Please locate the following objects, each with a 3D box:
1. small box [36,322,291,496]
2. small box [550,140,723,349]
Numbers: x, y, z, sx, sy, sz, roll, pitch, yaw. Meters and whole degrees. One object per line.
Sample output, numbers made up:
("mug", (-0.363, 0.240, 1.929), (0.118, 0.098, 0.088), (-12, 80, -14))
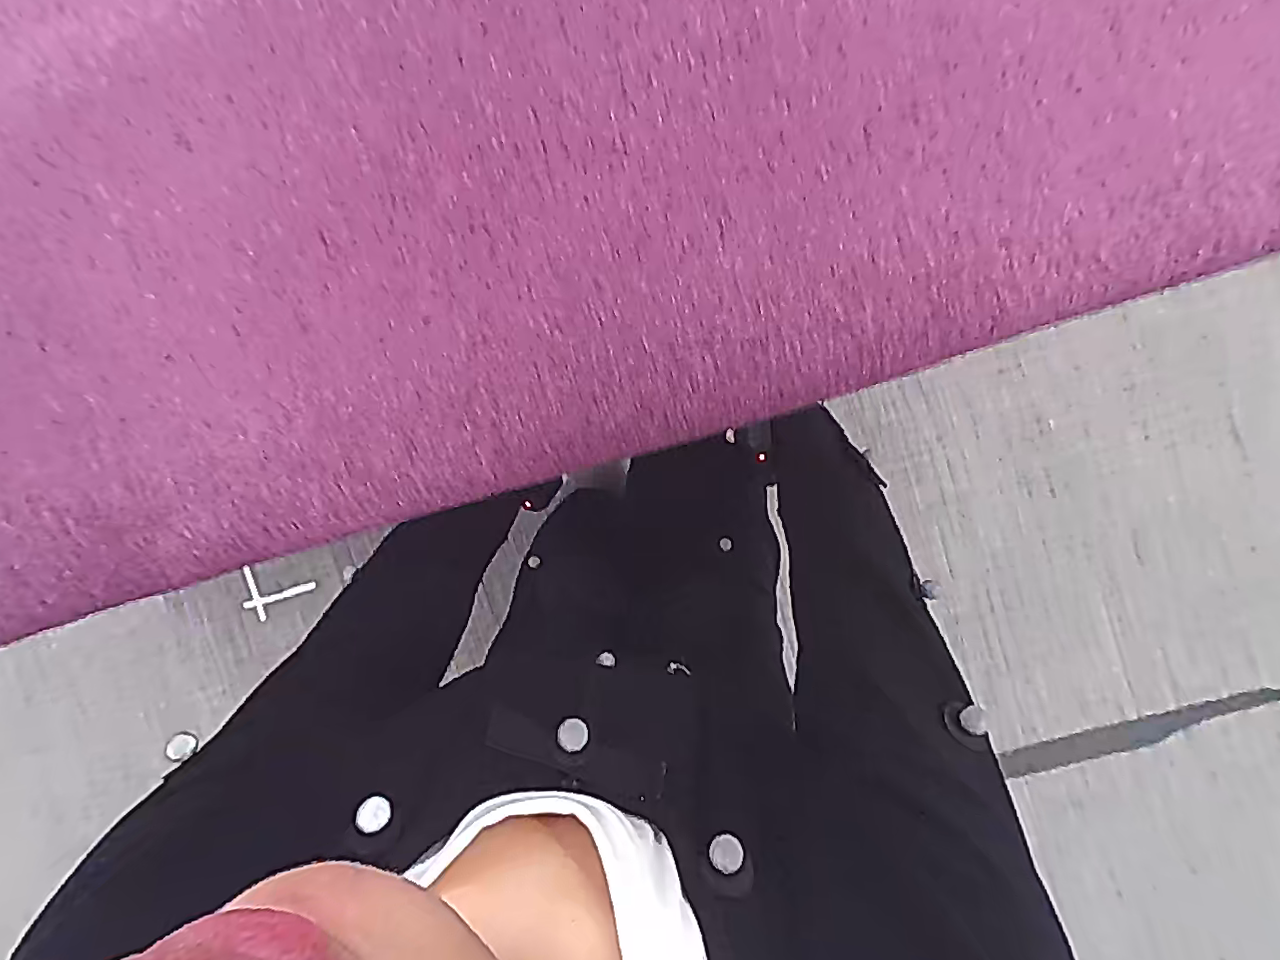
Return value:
("small box", (-0.618, -0.088, 0.726), (0.168, 0.176, 0.179), (-17, 93, 2))
("small box", (-0.002, -0.285, 0.695), (0.168, 0.176, 0.179), (-15, 93, 4))
